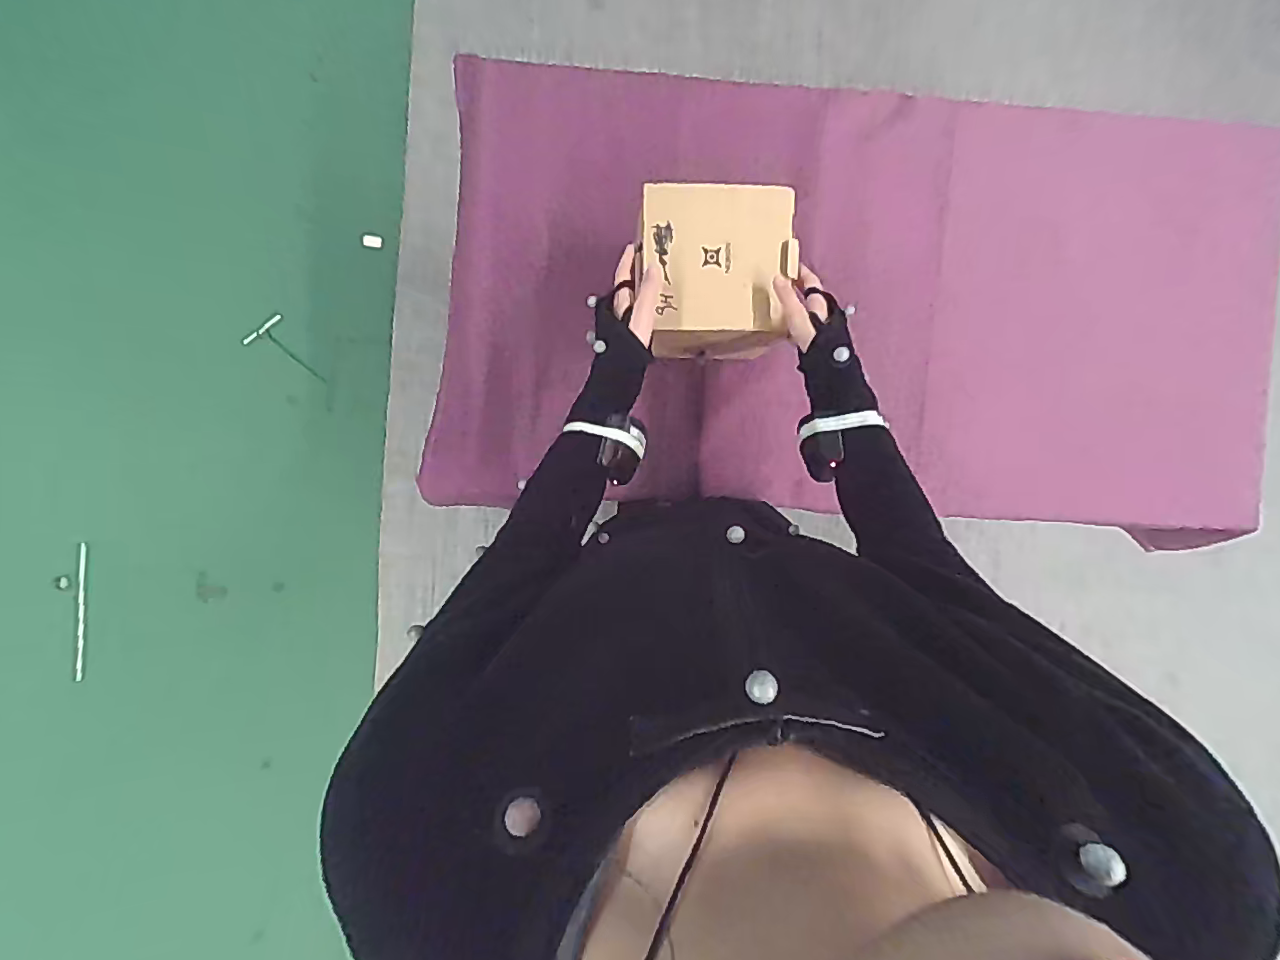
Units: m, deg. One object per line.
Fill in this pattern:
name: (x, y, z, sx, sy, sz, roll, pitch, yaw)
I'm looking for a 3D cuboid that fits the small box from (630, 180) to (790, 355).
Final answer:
small box: (0.079, -0.259, 0.697, 0.179, 0.176, 0.168, 1, 93, -3)
